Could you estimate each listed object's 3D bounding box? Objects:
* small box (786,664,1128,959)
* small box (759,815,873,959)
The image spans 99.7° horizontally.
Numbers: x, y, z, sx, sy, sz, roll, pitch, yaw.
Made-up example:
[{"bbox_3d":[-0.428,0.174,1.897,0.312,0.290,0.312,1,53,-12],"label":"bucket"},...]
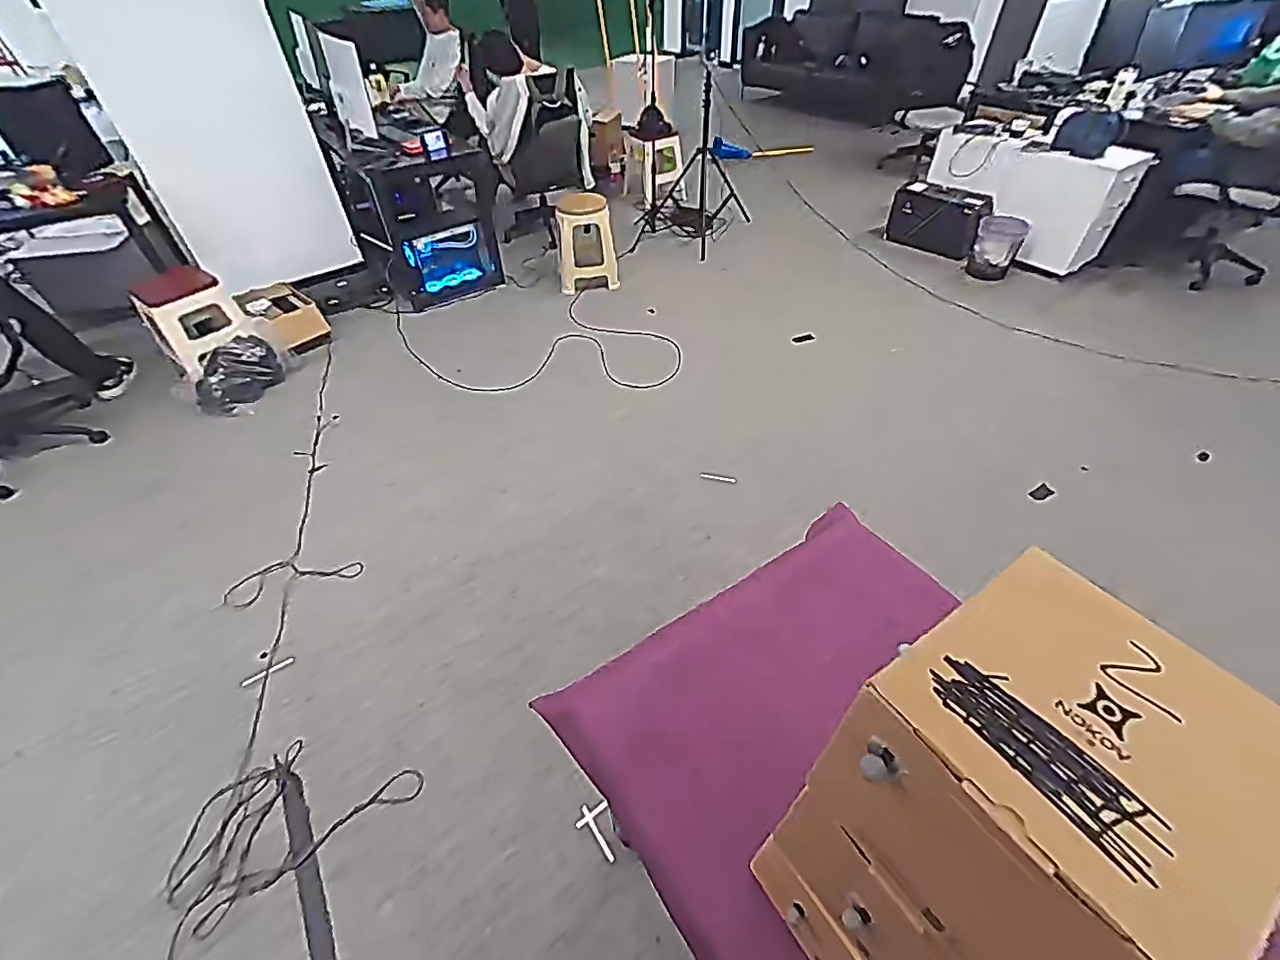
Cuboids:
[{"bbox_3d":[0.246,0.305,0.467,0.179,0.176,0.168,-27,51,-24],"label":"small box"},{"bbox_3d":[0.245,0.424,0.579,0.179,0.176,0.168,-25,50,-23],"label":"small box"}]
